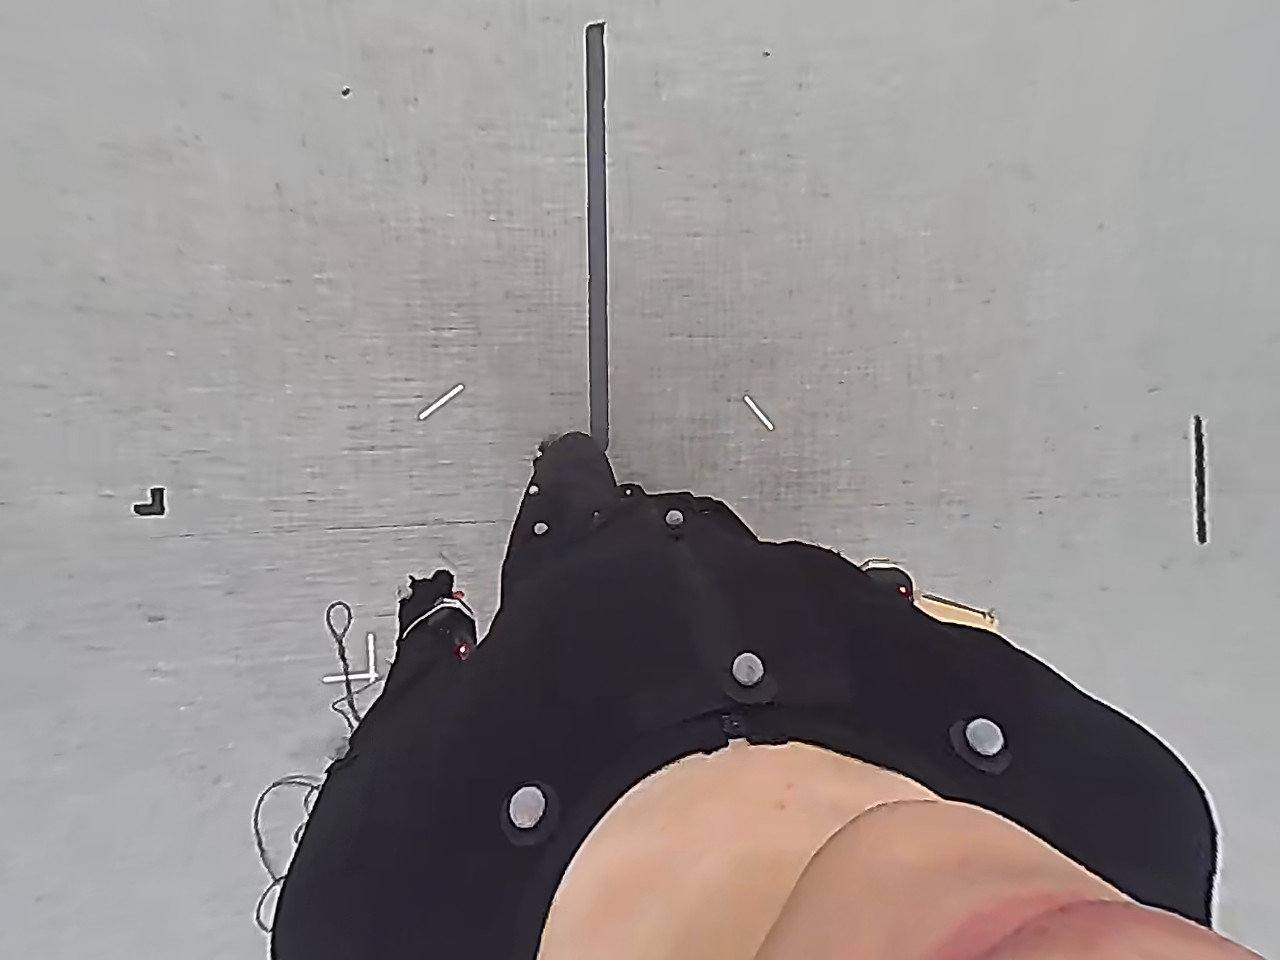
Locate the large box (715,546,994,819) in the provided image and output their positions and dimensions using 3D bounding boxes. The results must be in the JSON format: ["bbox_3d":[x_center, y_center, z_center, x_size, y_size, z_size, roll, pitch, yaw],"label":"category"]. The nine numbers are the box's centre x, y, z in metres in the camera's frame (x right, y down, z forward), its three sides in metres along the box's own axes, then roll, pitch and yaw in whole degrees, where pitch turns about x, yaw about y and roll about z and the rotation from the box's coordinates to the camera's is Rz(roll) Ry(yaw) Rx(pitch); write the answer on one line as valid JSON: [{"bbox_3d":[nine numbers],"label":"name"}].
[{"bbox_3d":[0.342,0.321,0.992,0.320,0.408,0.320,15,87,4],"label":"large box"}]
